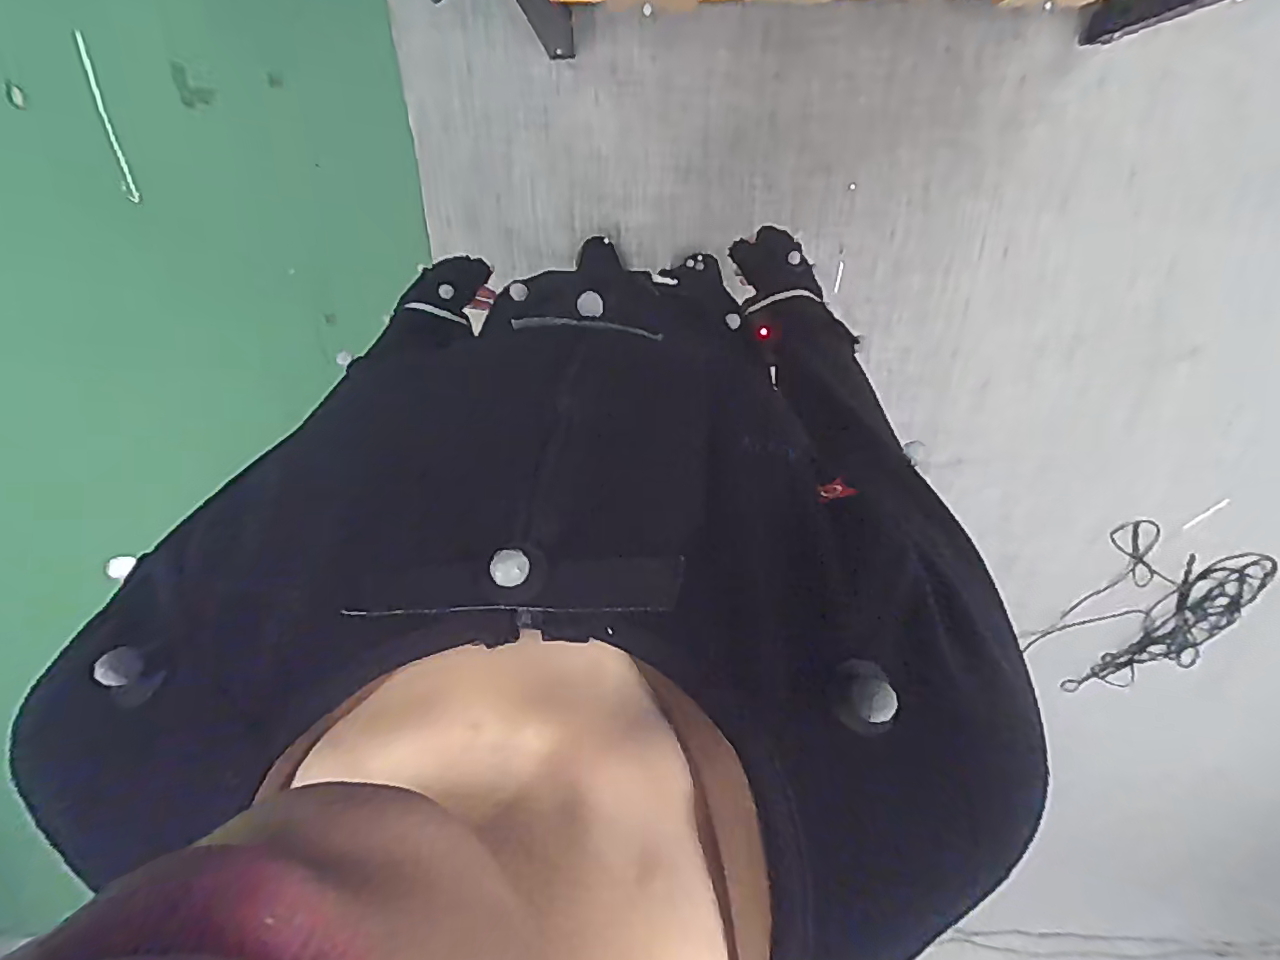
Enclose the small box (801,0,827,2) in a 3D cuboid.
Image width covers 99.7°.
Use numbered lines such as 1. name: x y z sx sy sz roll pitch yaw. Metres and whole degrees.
1. small box: 0.280 -0.938 0.908 0.168 0.176 0.179 -1 117 -1
